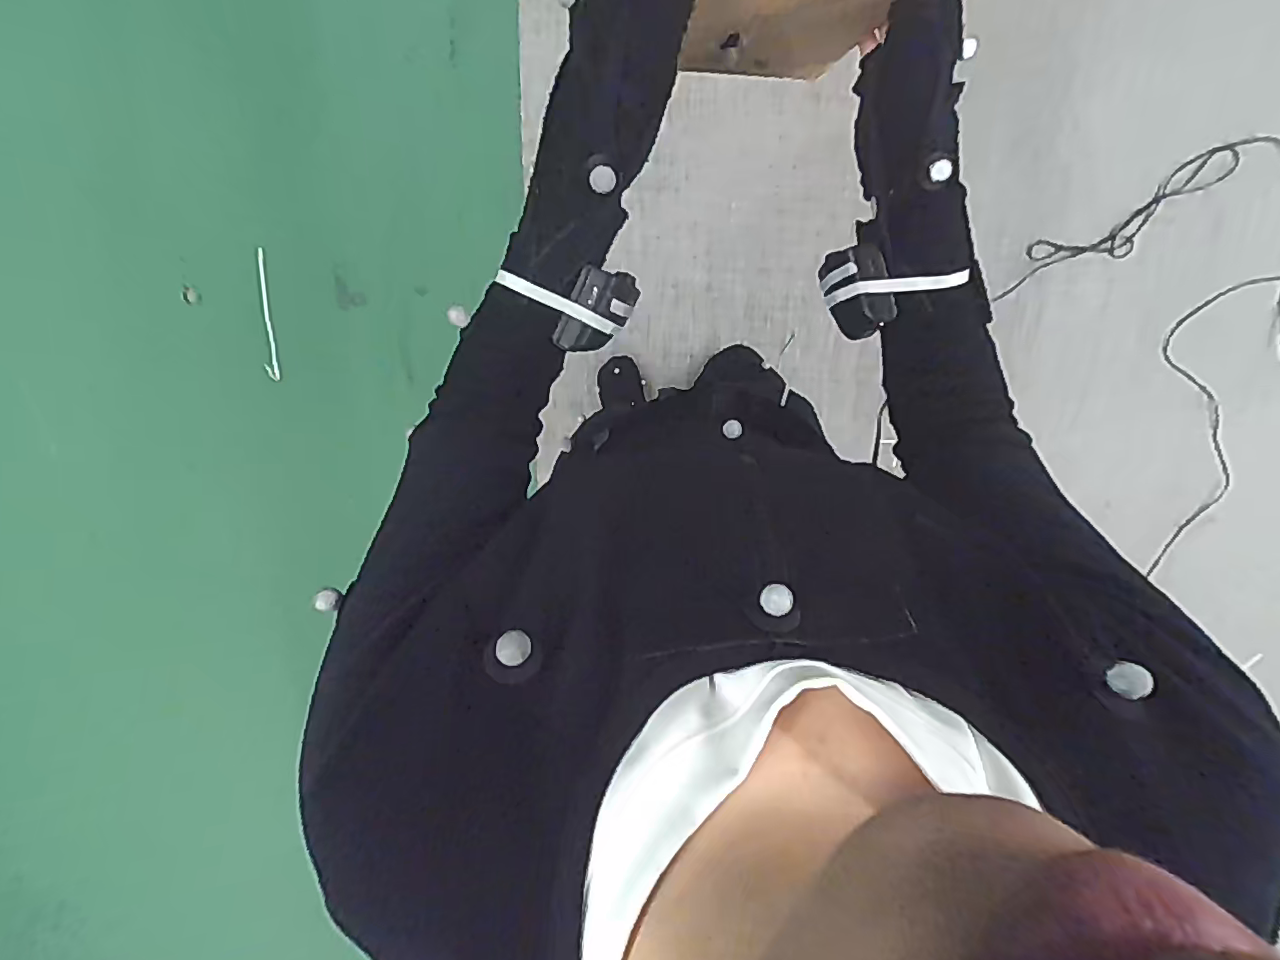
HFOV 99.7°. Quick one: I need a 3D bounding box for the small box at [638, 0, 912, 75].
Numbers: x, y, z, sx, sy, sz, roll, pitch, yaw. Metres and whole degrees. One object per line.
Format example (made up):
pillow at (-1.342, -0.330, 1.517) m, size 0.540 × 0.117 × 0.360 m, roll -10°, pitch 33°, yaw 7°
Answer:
small box at (0.091, -0.406, 0.357) m, size 0.168 × 0.176 × 0.179 m, roll -2°, pitch 110°, yaw -8°
